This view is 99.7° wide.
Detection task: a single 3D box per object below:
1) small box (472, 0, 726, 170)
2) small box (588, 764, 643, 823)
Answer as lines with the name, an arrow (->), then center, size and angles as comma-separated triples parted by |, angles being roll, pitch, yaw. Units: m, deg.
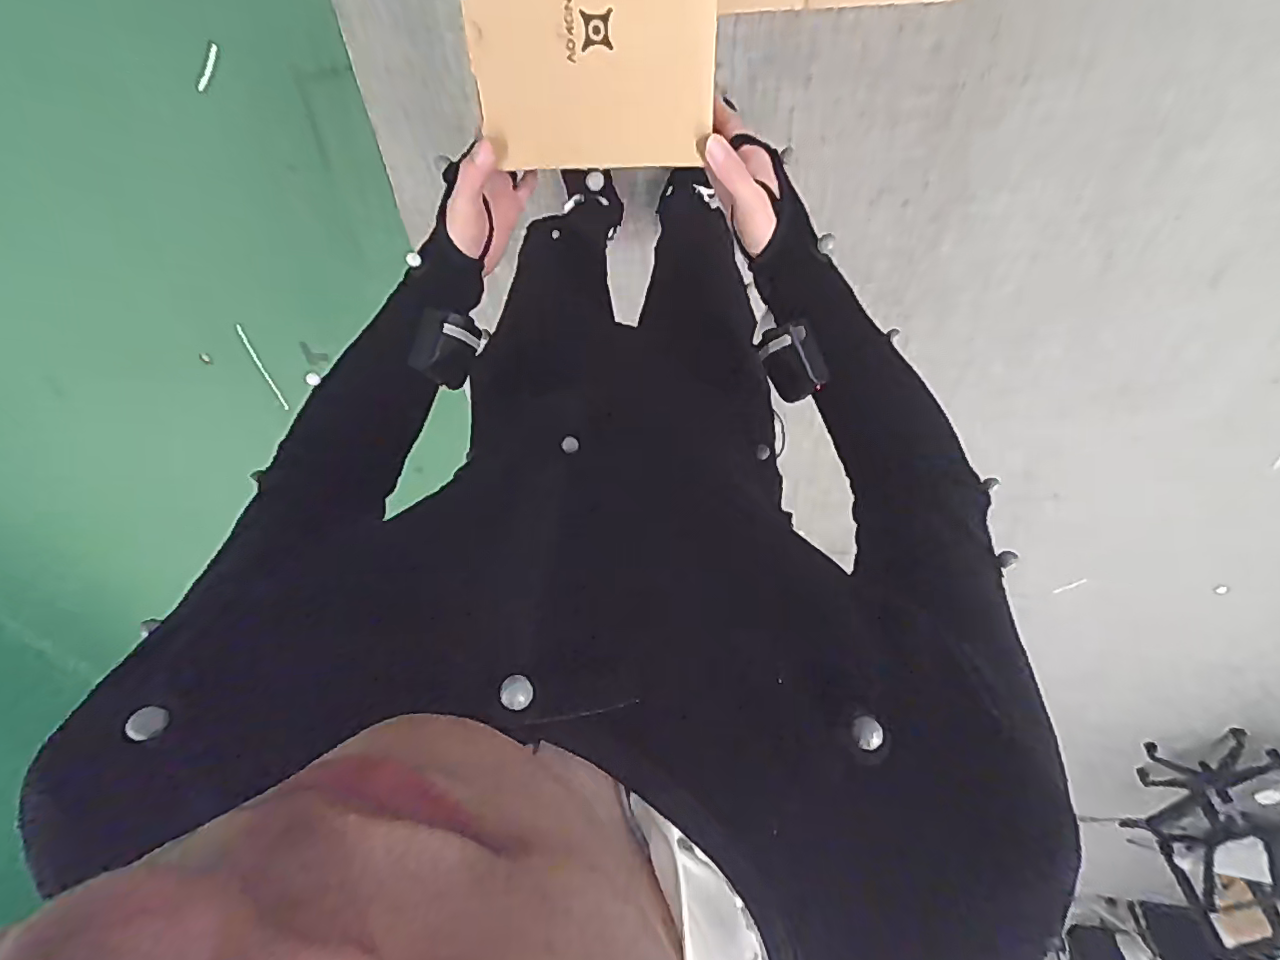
small box -> -0.022, -0.354, 0.440 | 0.179, 0.176, 0.168 | 2, 123, 6
small box -> -0.083, 1.118, 1.898 | 0.179, 0.176, 0.168 | 6, 133, 3
